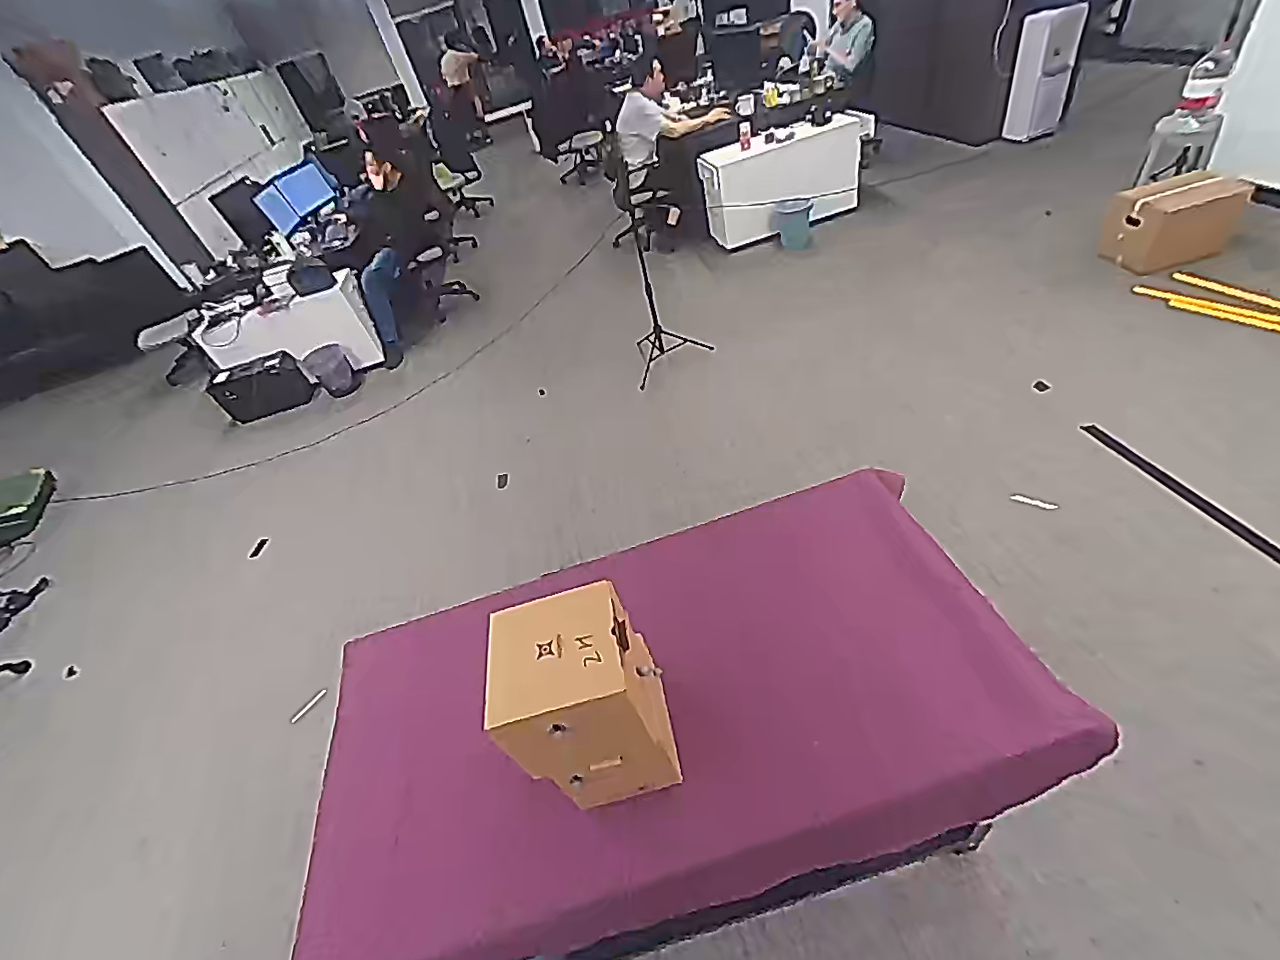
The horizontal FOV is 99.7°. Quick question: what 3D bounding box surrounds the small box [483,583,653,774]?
[{"bbox_3d":[-0.094,0.275,0.740,0.179,0.176,0.168,-16,42,2],"label":"small box"}]
